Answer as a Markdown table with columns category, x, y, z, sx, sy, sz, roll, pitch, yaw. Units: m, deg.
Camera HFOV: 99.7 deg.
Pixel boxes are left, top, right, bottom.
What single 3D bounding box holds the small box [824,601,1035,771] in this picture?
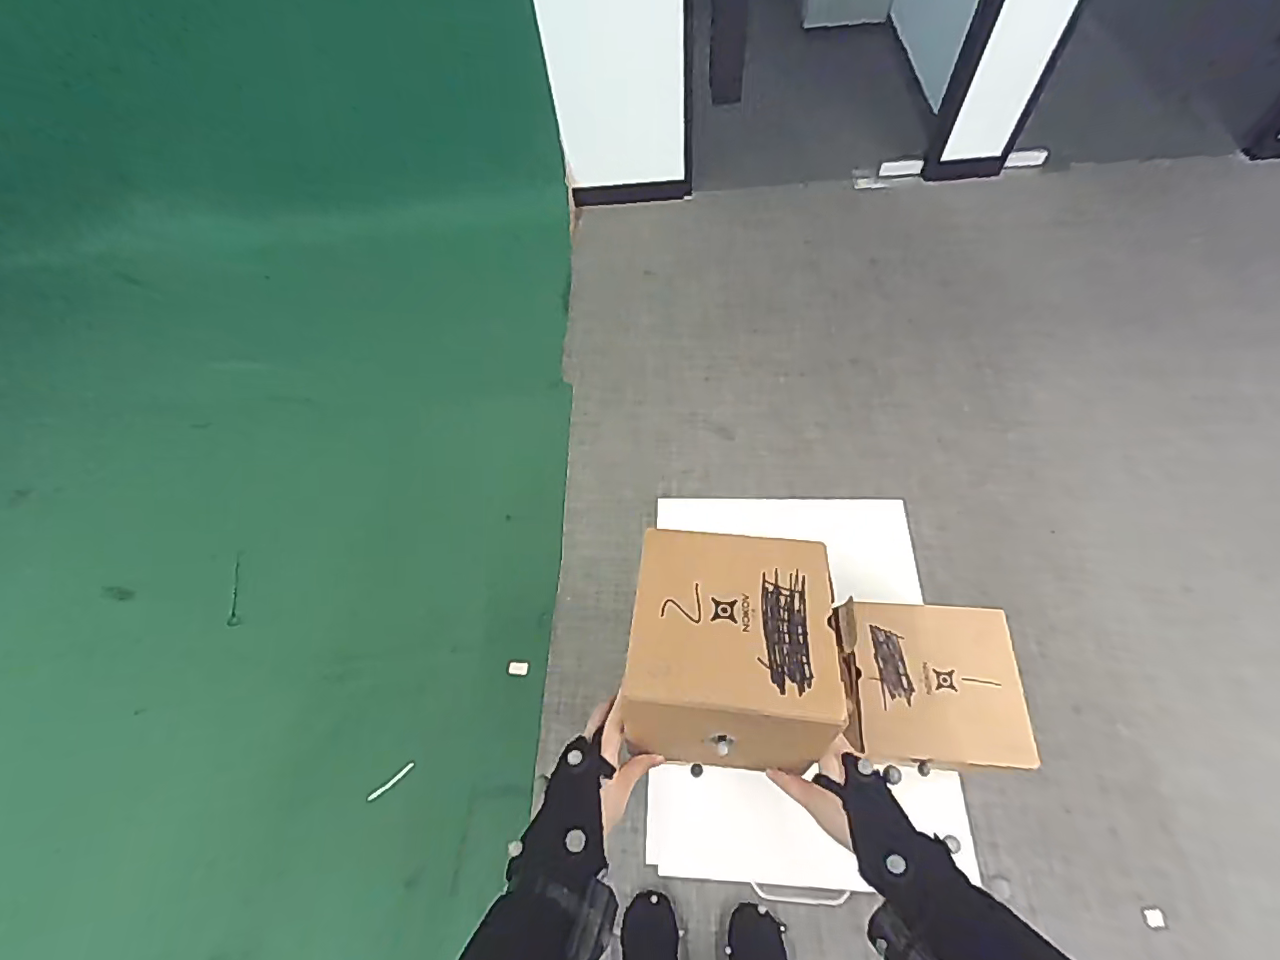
| category | x | y | z | sx | sy | sz | roll | pitch | yaw |
| --- | --- | --- | --- | --- | --- | --- | --- | --- | --- |
| small box | 0.333 | 0.258 | 0.668 | 0.179 | 0.176 | 0.168 | 2 | 62 | 6 |

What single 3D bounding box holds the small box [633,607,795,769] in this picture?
| category | x | y | z | sx | sy | sz | roll | pitch | yaw |
| --- | --- | --- | --- | --- | --- | --- | --- | --- | --- |
| small box | 0.089 | 0.267 | 0.685 | 0.179 | 0.176 | 0.168 | 1 | 62 | 5 |
